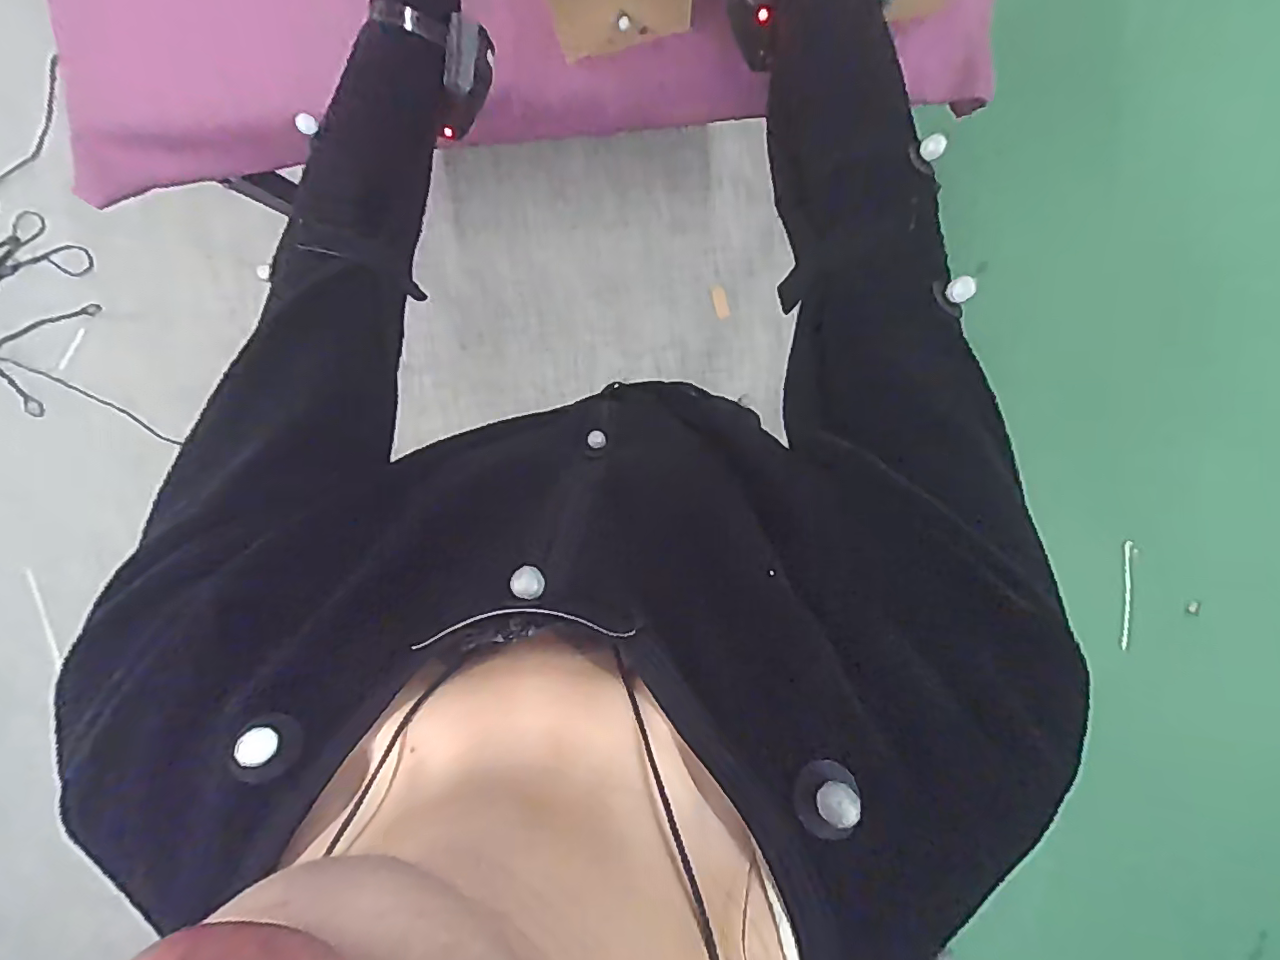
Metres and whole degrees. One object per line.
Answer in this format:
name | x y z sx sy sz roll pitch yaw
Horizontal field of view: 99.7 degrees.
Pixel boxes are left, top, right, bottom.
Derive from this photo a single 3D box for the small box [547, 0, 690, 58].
small box | -0.038 -0.625 0.597 0.168 0.176 0.179 -11 98 5
